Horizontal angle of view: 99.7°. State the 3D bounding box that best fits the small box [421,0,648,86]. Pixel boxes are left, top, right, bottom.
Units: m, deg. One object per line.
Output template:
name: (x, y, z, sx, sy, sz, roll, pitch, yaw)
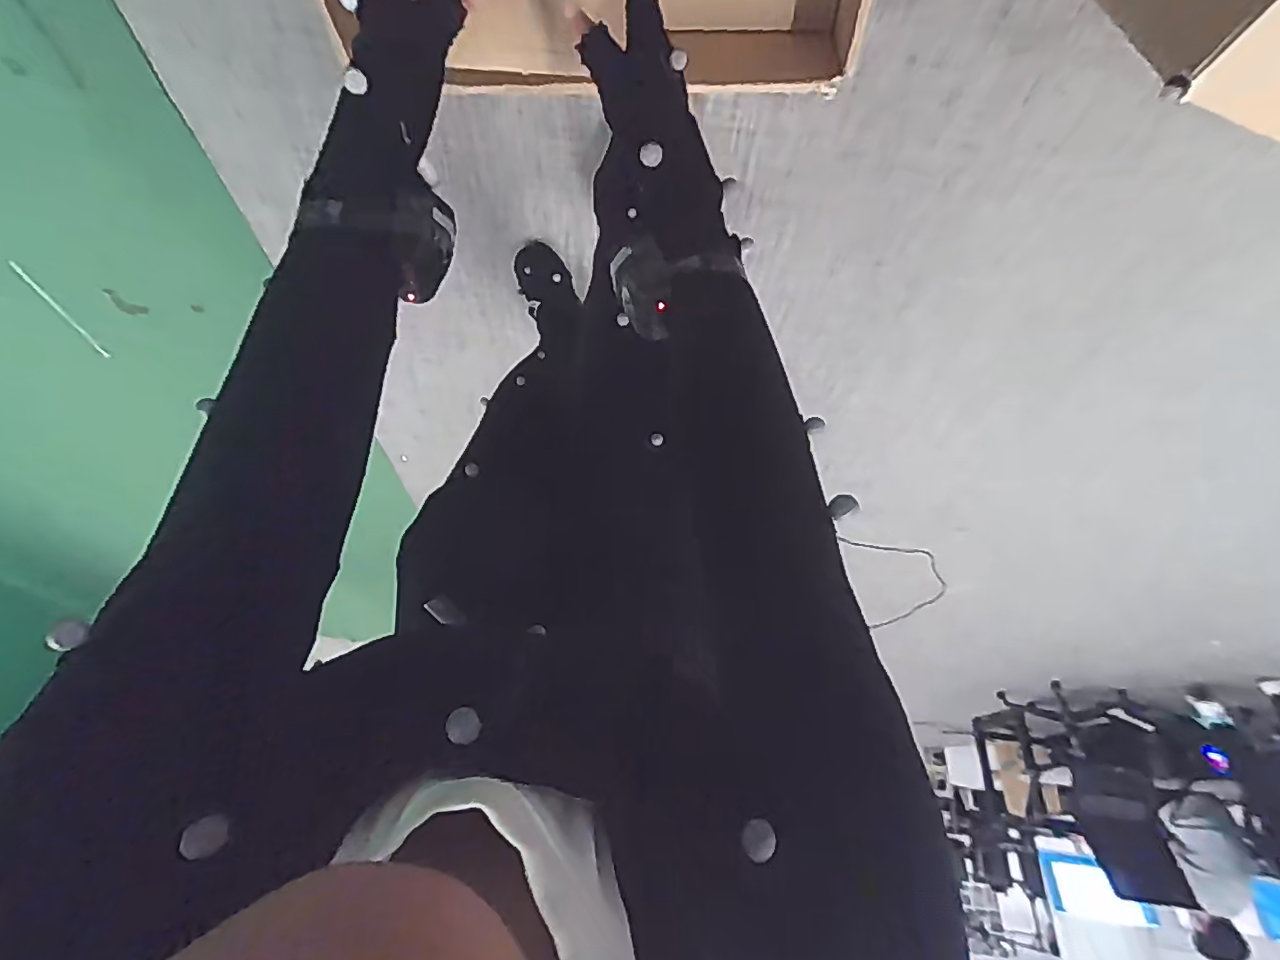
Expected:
small box: (-0.084, -0.465, 0.457, 0.179, 0.176, 0.168, 5, 144, 2)
